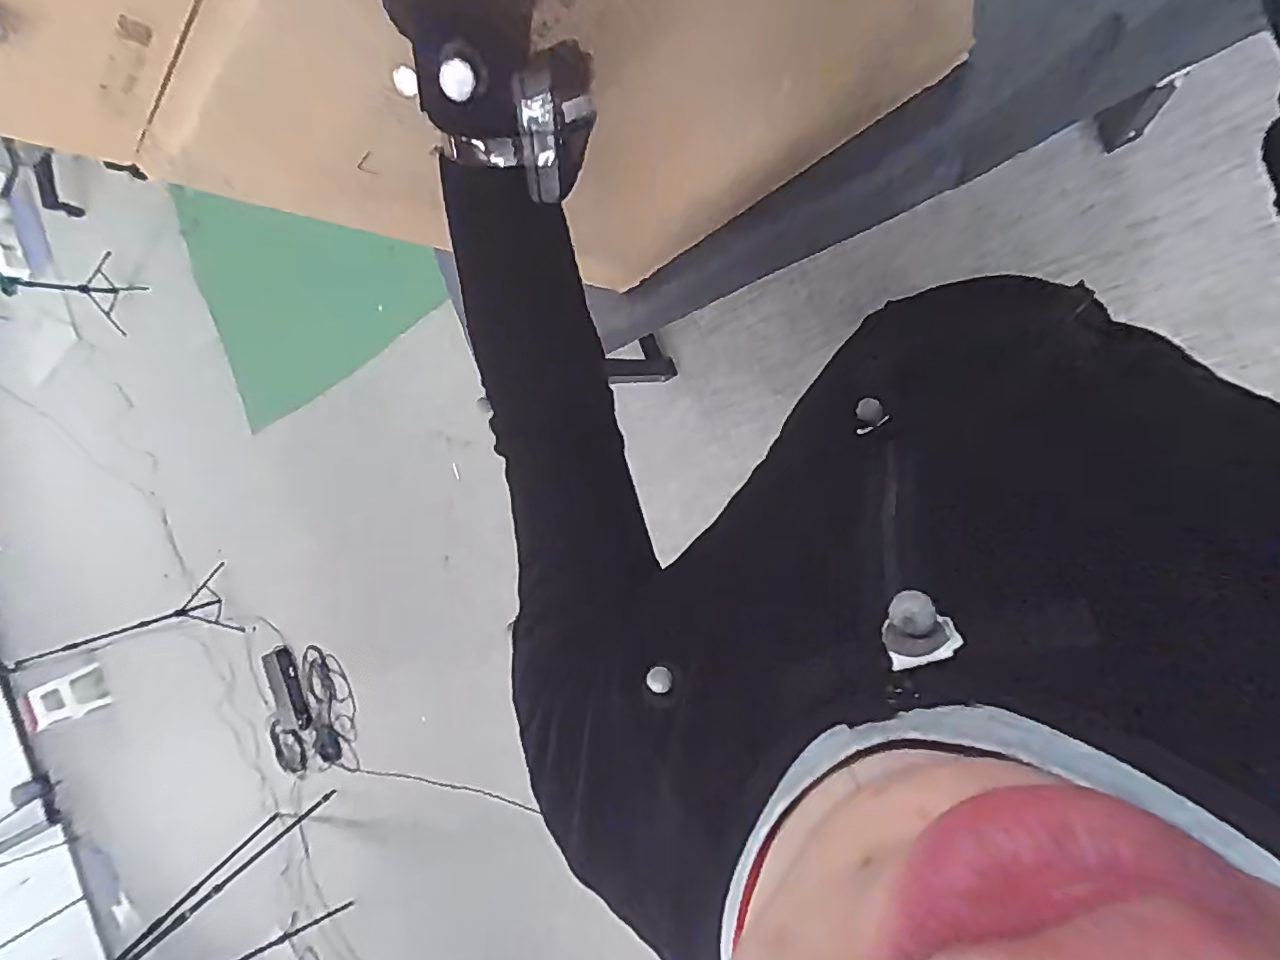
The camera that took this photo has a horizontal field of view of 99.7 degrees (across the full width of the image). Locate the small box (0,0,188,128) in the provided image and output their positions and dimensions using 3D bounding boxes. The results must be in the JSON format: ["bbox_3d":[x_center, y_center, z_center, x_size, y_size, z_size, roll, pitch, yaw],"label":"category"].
[{"bbox_3d":[-0.360,-0.312,0.262,0.168,0.176,0.179,-25,88,32],"label":"small box"}]
